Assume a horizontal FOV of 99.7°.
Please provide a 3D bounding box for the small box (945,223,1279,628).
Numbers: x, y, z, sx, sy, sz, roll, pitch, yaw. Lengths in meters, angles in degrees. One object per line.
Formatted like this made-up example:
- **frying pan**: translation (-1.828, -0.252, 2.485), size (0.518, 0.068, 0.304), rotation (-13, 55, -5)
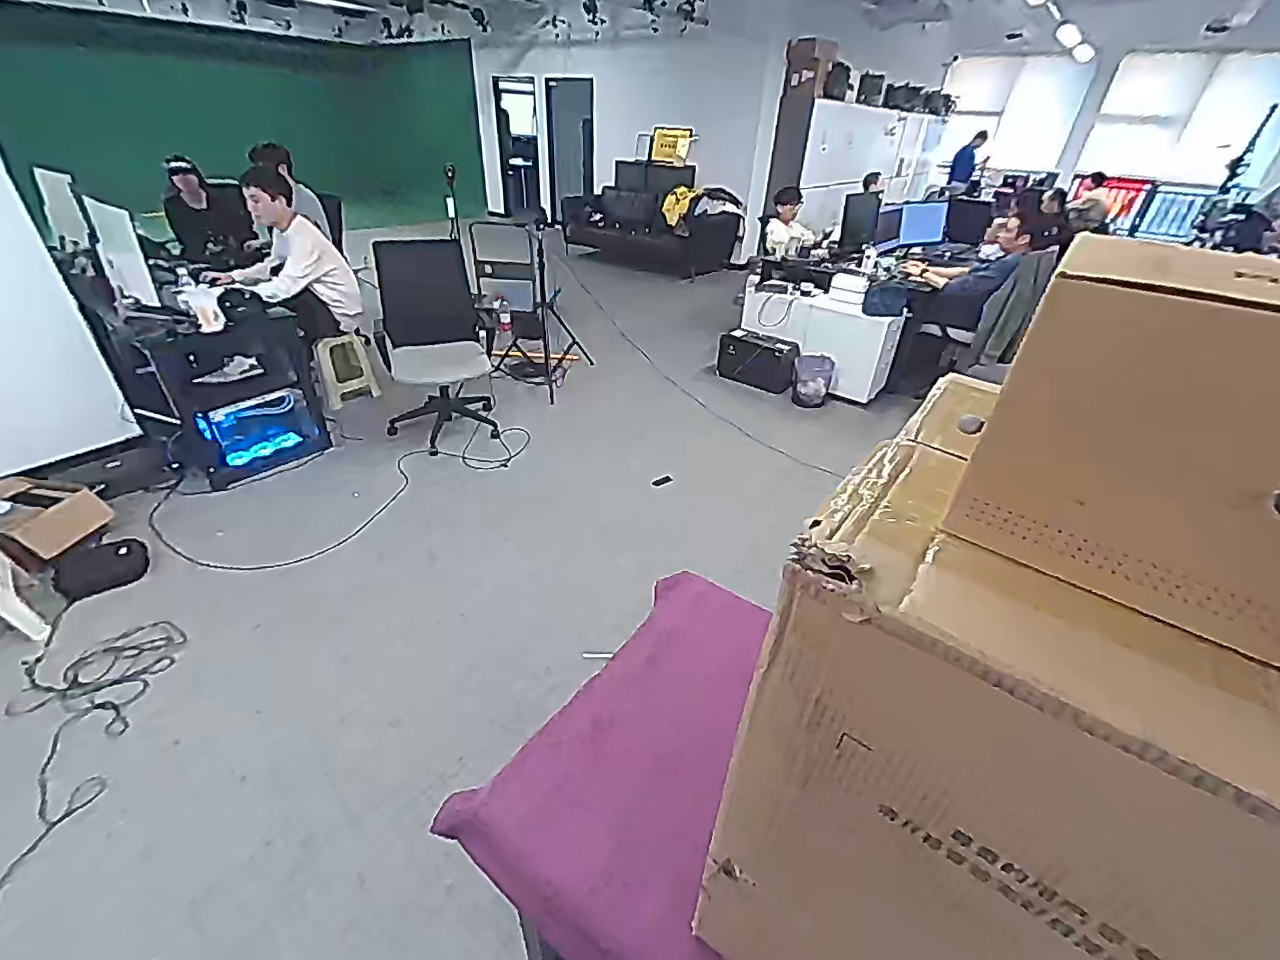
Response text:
- **small box**: translation (0.319, -0.041, 0.322), size (0.179, 0.176, 0.168), rotation (25, 39, 29)
